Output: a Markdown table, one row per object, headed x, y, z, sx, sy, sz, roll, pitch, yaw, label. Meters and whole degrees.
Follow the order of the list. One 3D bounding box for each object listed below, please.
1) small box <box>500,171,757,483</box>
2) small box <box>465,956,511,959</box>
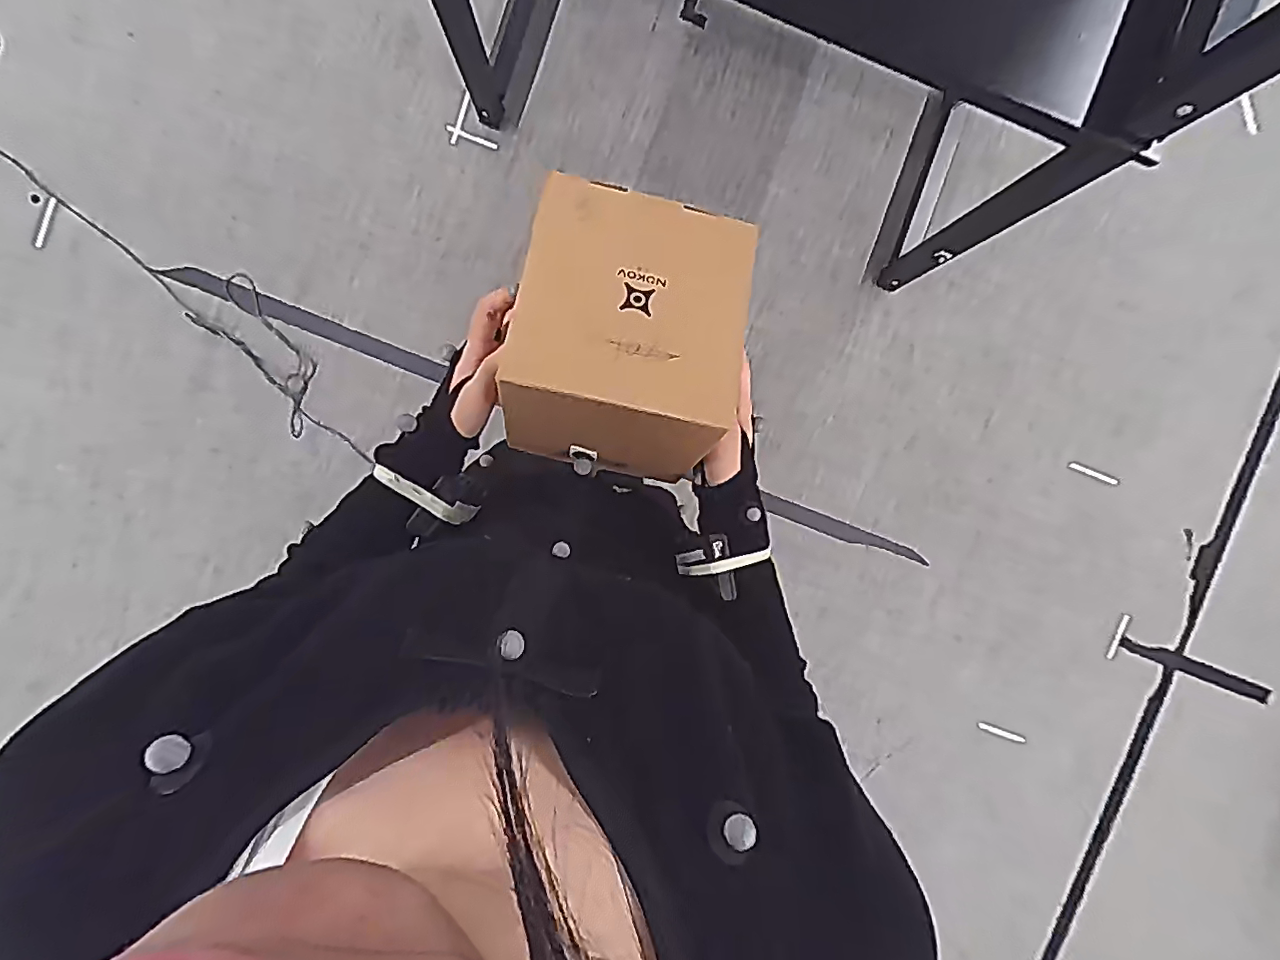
| x | y | z | sx | sy | sz | roll | pitch | yaw | label |
| --- | --- | --- | --- | --- | --- | --- | --- | --- | --- |
| -0.015 | -0.112 | 0.463 | 0.168 | 0.176 | 0.179 | 12 | 75 | -7 | small box |
| -0.428 | 1.461 | 1.485 | 0.179 | 0.176 | 0.168 | 8 | 93 | -5 | small box |
